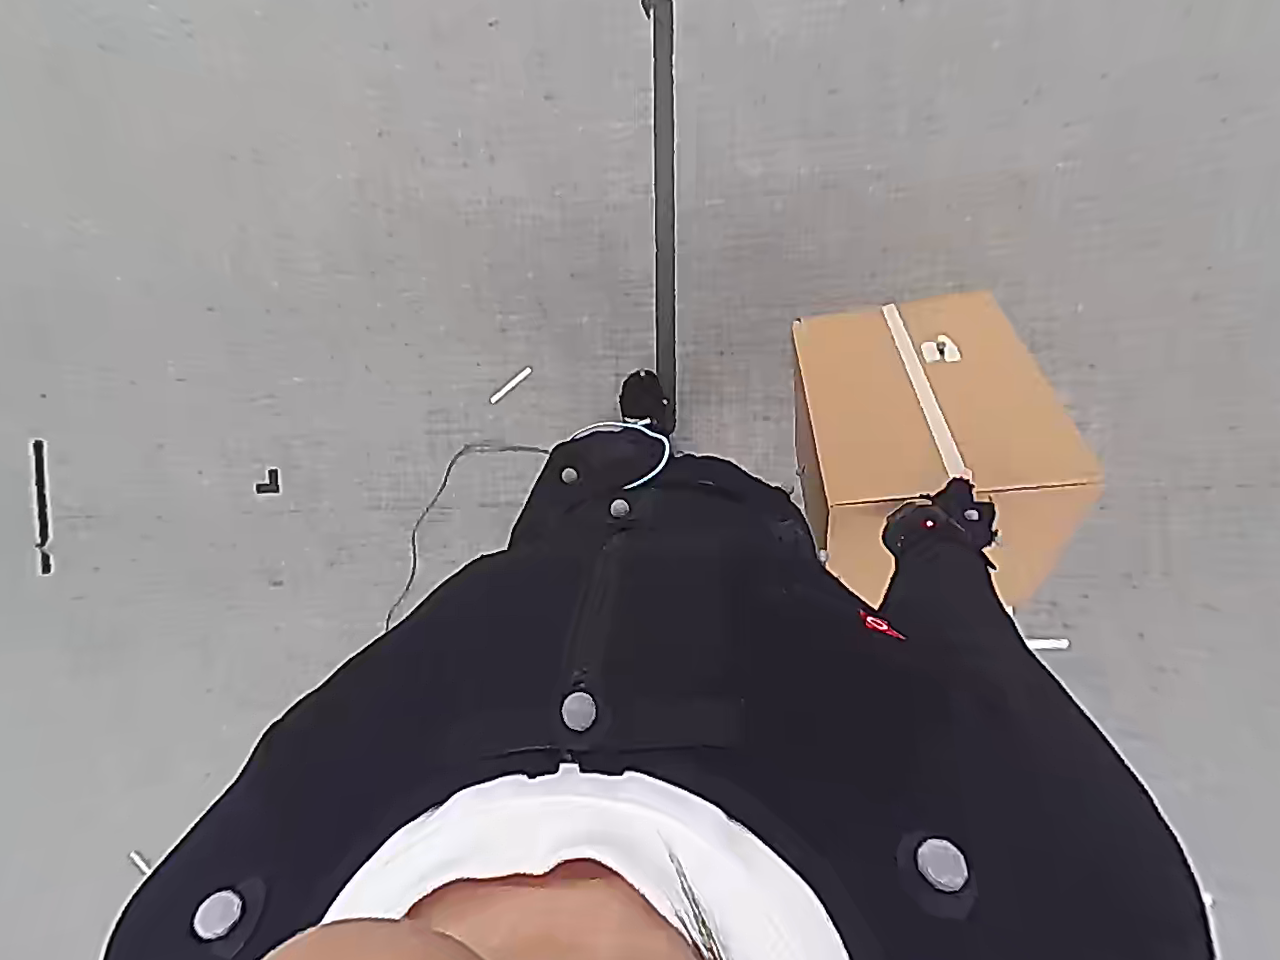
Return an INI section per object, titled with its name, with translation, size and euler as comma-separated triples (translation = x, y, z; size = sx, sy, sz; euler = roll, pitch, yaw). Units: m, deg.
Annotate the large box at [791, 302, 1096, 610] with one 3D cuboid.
[large box]
translation = 0.441, -0.037, 0.910
size = 0.320, 0.408, 0.320
euler = -5, 138, 11
